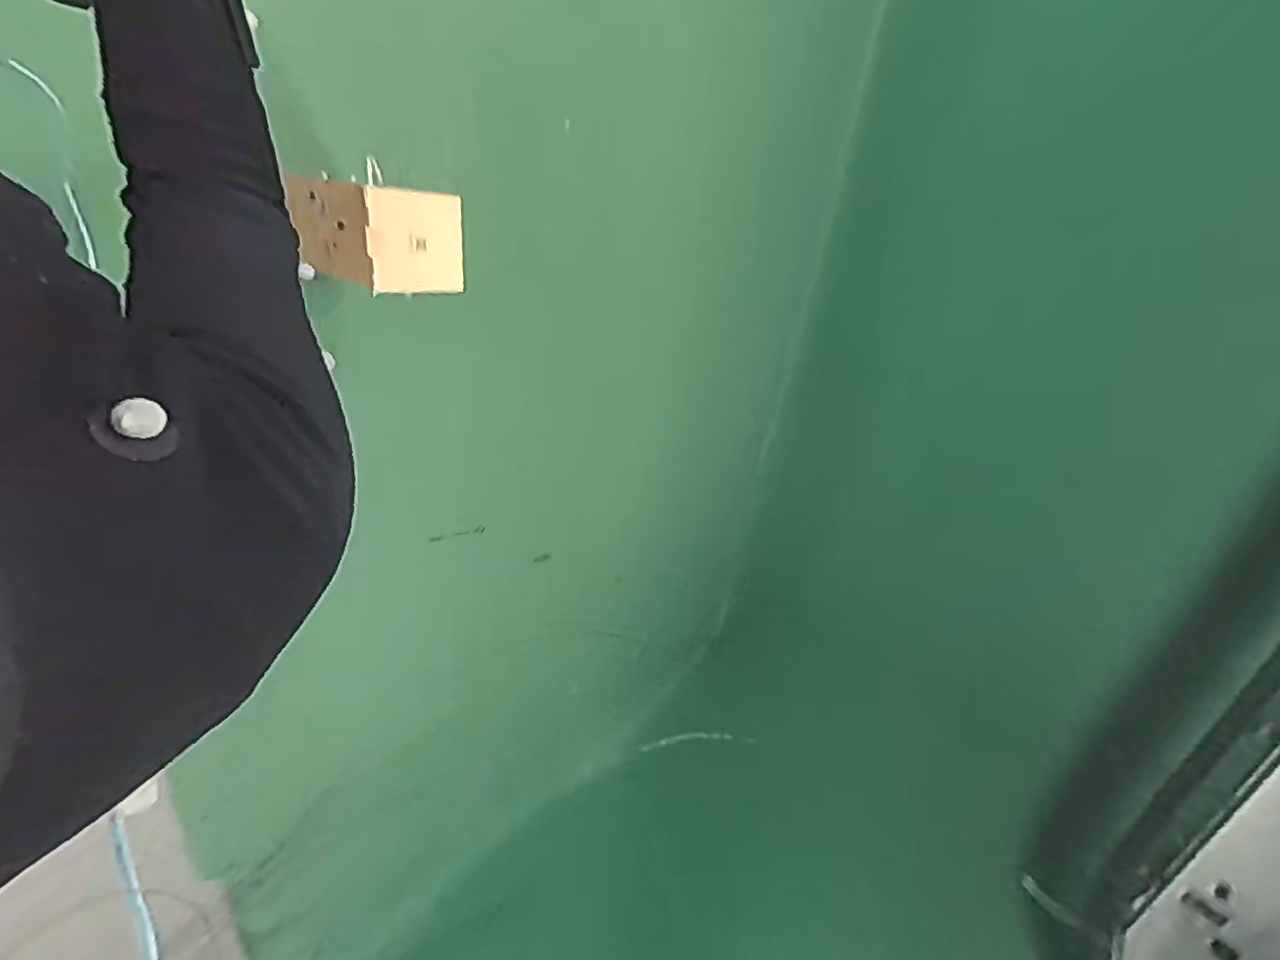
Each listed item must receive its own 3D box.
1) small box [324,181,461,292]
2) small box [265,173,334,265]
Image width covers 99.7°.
[{"bbox_3d":[-0.457,-0.453,1.010,0.179,0.176,0.168,-21,128,-44],"label":"small box"},{"bbox_3d":[-0.702,-0.570,1.193,0.179,0.176,0.168,-18,126,-46],"label":"small box"}]
